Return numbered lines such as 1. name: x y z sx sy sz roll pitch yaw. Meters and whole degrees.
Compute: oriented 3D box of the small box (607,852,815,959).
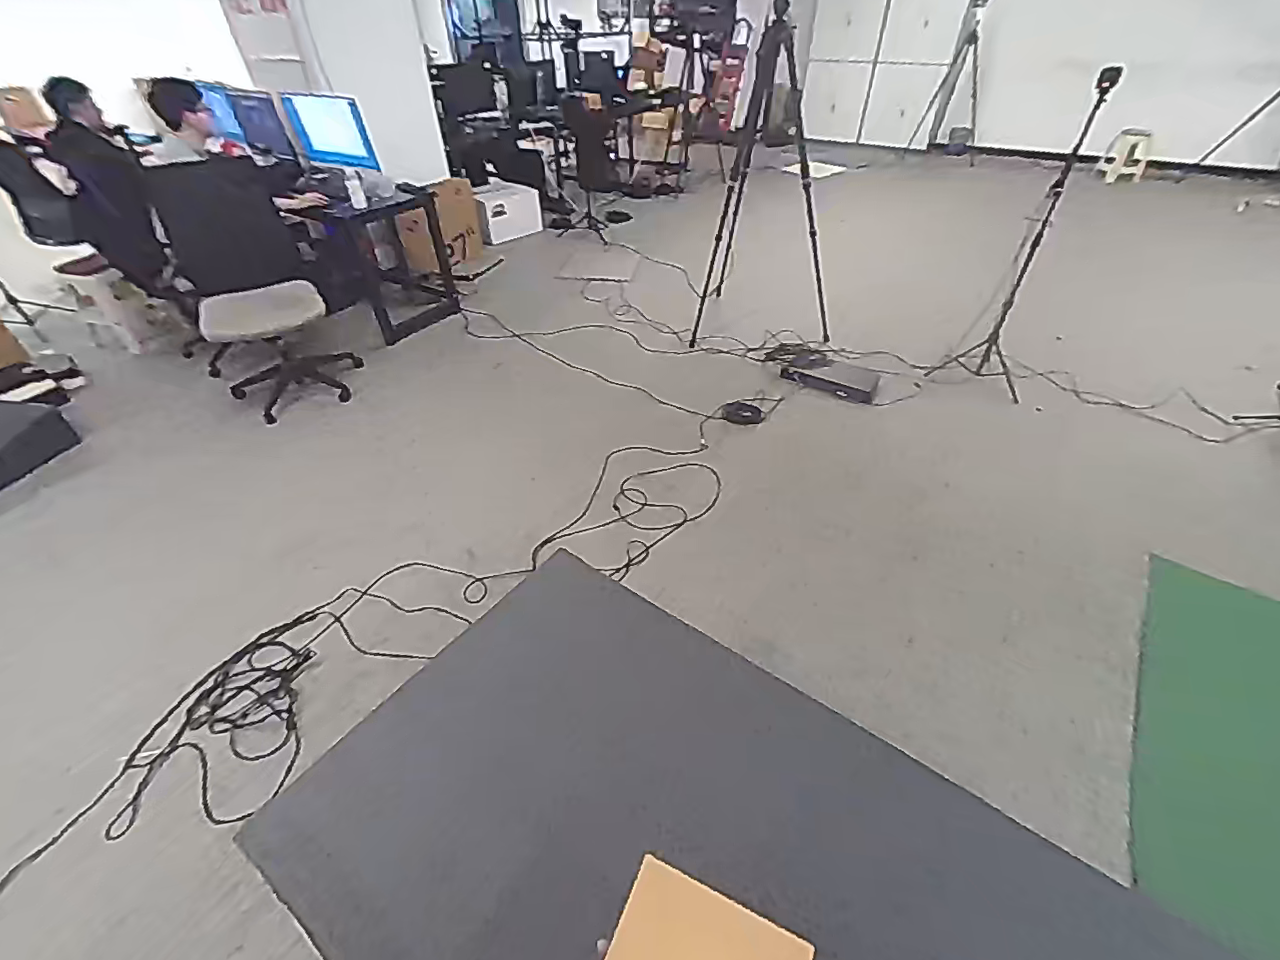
1. small box: 0.046 0.494 0.493 0.168 0.176 0.179 15 42 19
